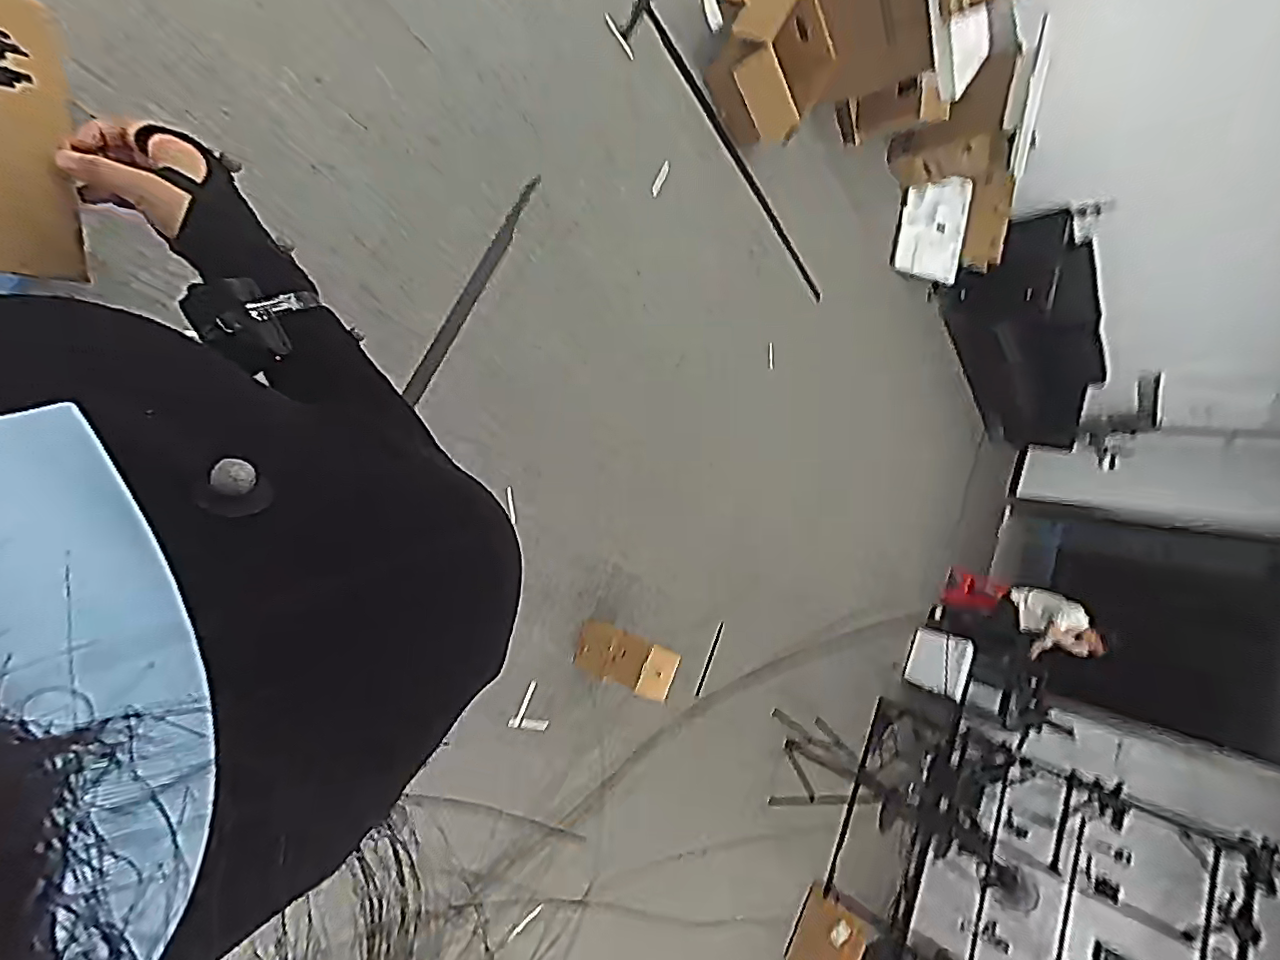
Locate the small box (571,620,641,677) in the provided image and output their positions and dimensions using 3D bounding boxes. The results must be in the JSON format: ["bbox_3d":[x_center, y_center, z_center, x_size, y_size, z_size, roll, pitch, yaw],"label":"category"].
[{"bbox_3d":[-0.131,0.635,2.043,0.179,0.176,0.168,20,82,-45],"label":"small box"}]

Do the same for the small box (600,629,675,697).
[{"bbox_3d":[-0.009,0.651,1.935,0.179,0.176,0.168,36,71,-42],"label":"small box"}]
